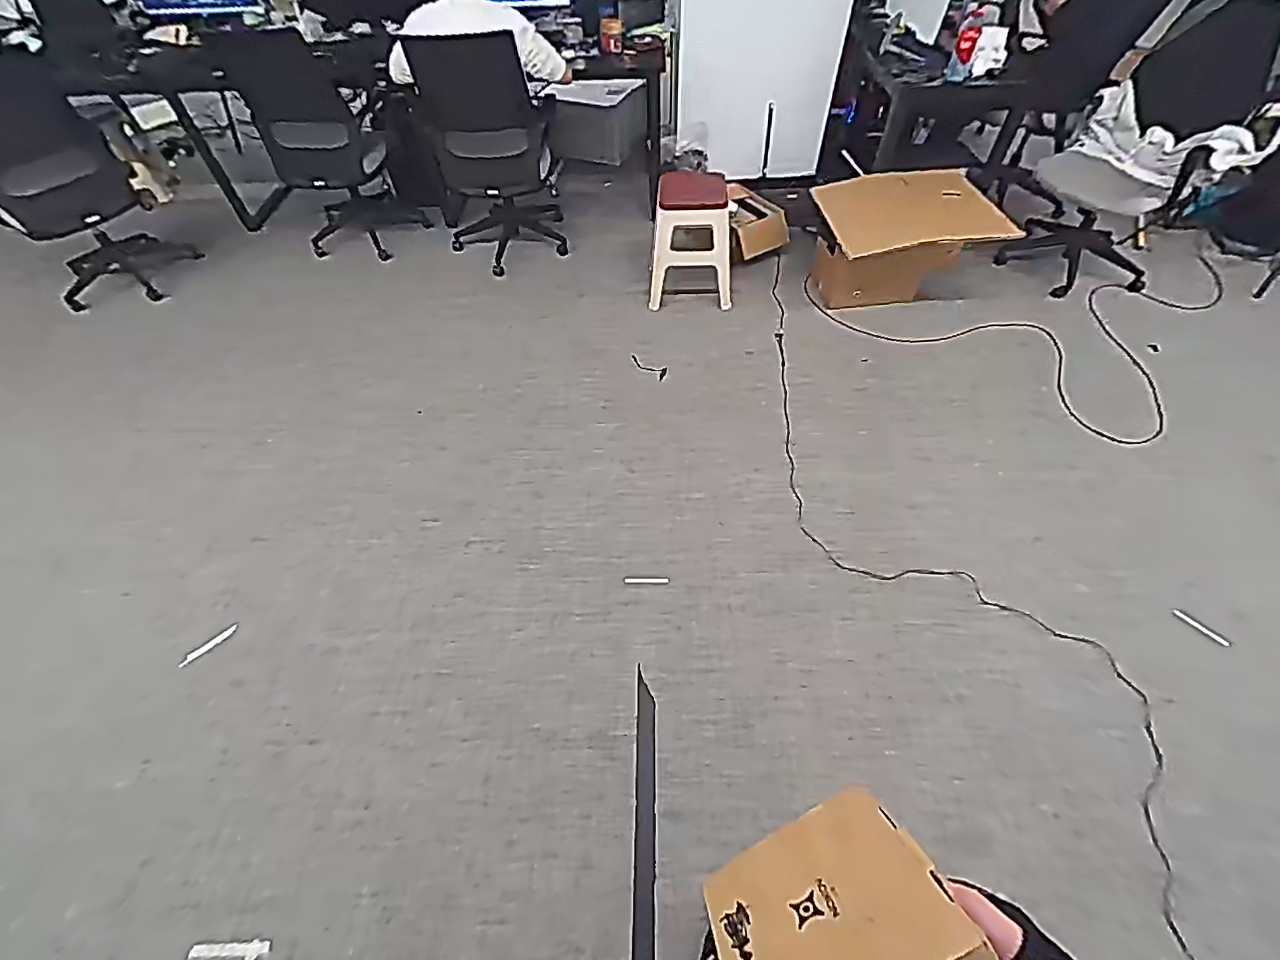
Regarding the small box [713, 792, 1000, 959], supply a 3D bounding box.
[{"bbox_3d":[0.186,0.410,0.435,0.179,0.168,0.176,-29,93,-2],"label":"small box"}]
